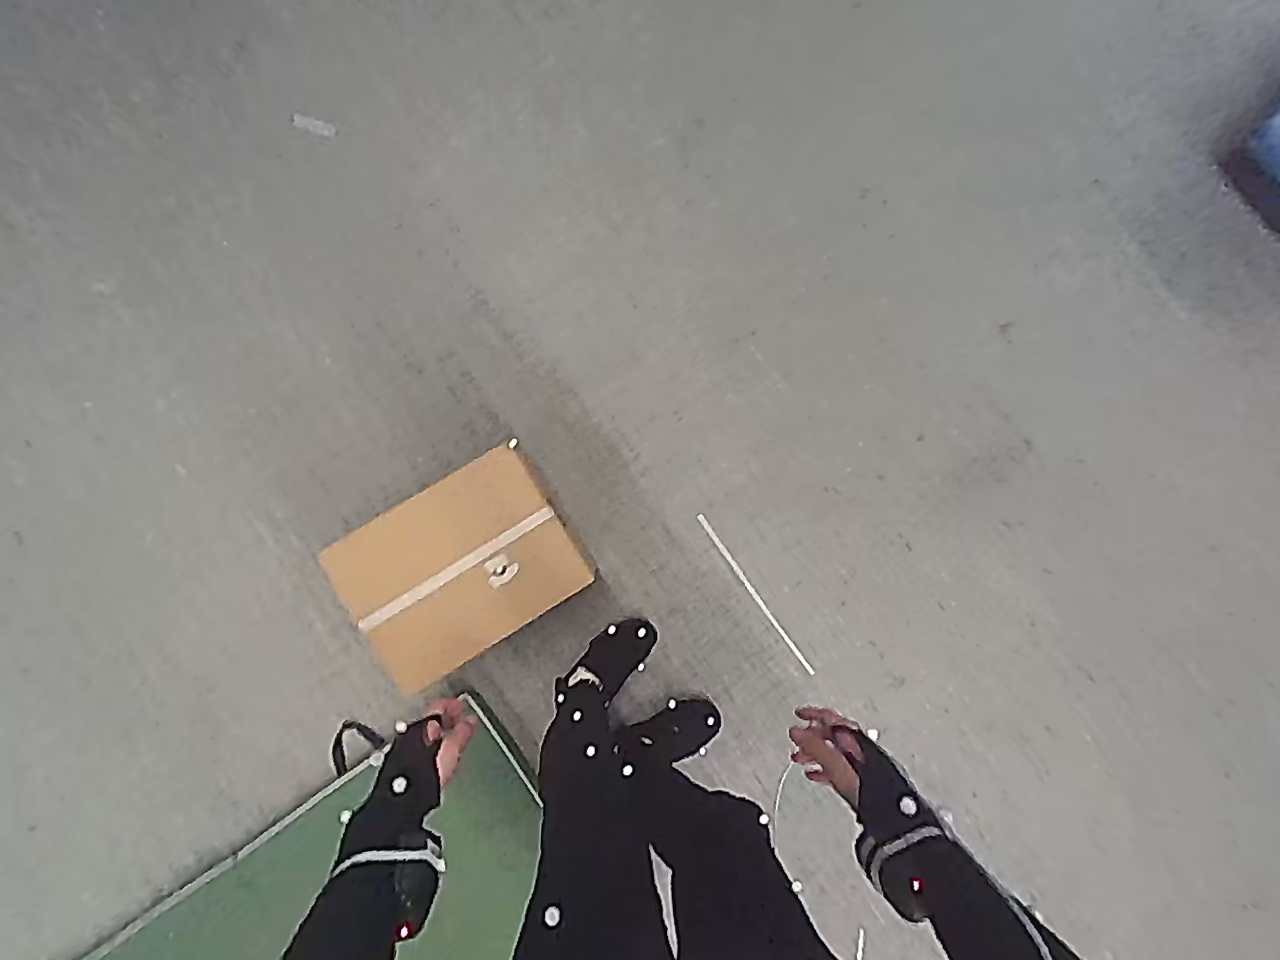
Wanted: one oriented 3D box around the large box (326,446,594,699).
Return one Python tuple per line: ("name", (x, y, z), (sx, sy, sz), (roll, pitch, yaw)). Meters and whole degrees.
("large box", (-0.344, 0.179, 1.149), (0.408, 0.320, 0.320), (-32, 90, -6))
